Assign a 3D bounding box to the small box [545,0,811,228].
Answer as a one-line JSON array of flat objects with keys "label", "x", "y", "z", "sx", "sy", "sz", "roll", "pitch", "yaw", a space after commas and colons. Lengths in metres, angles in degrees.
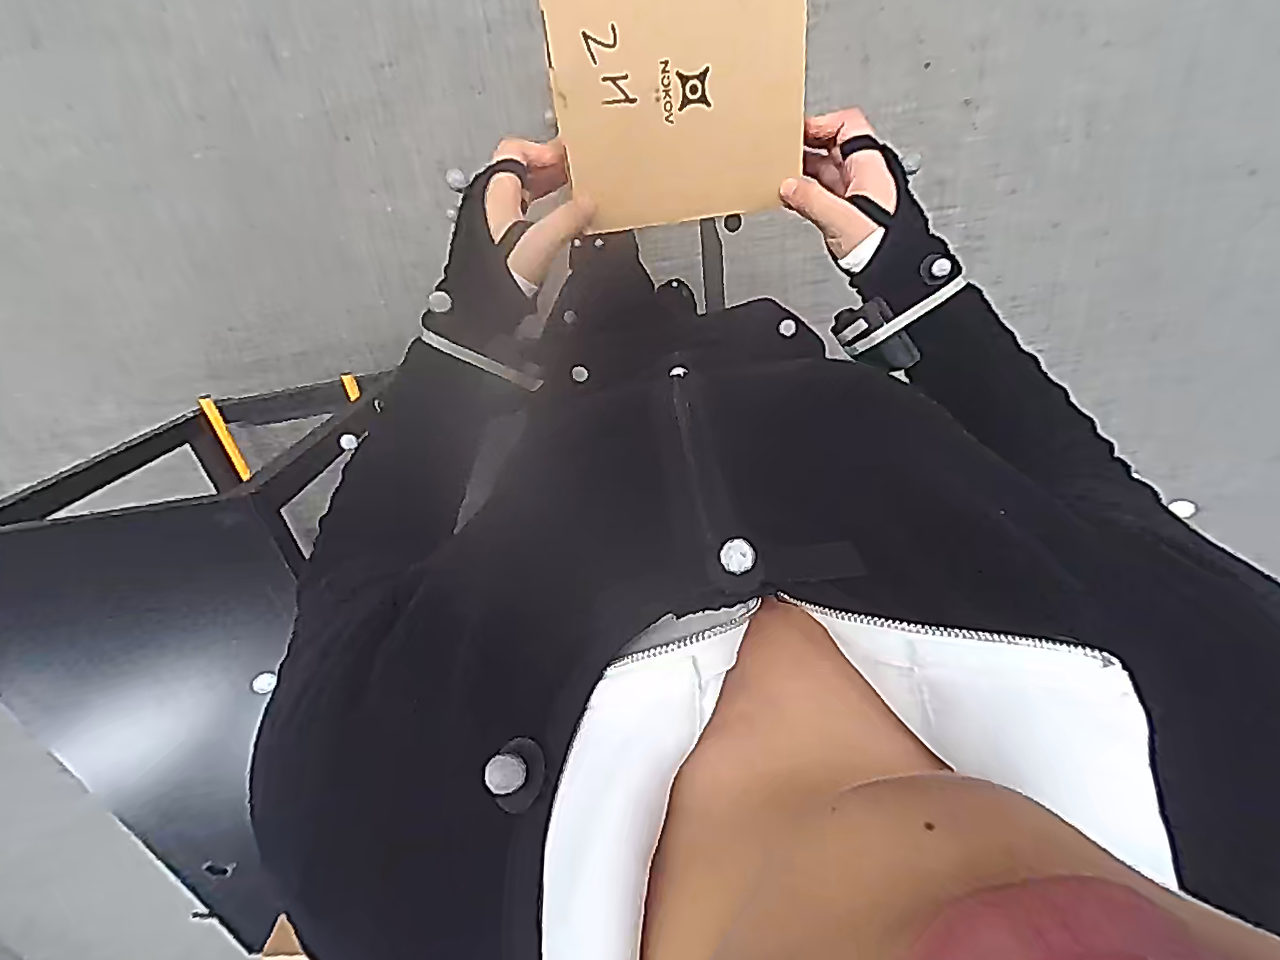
[{"label": "small box", "x": 0.024, "y": -0.313, "z": 0.439, "sx": 0.179, "sy": 0.176, "sz": 0.168, "roll": -8, "pitch": 121, "yaw": 0}]
